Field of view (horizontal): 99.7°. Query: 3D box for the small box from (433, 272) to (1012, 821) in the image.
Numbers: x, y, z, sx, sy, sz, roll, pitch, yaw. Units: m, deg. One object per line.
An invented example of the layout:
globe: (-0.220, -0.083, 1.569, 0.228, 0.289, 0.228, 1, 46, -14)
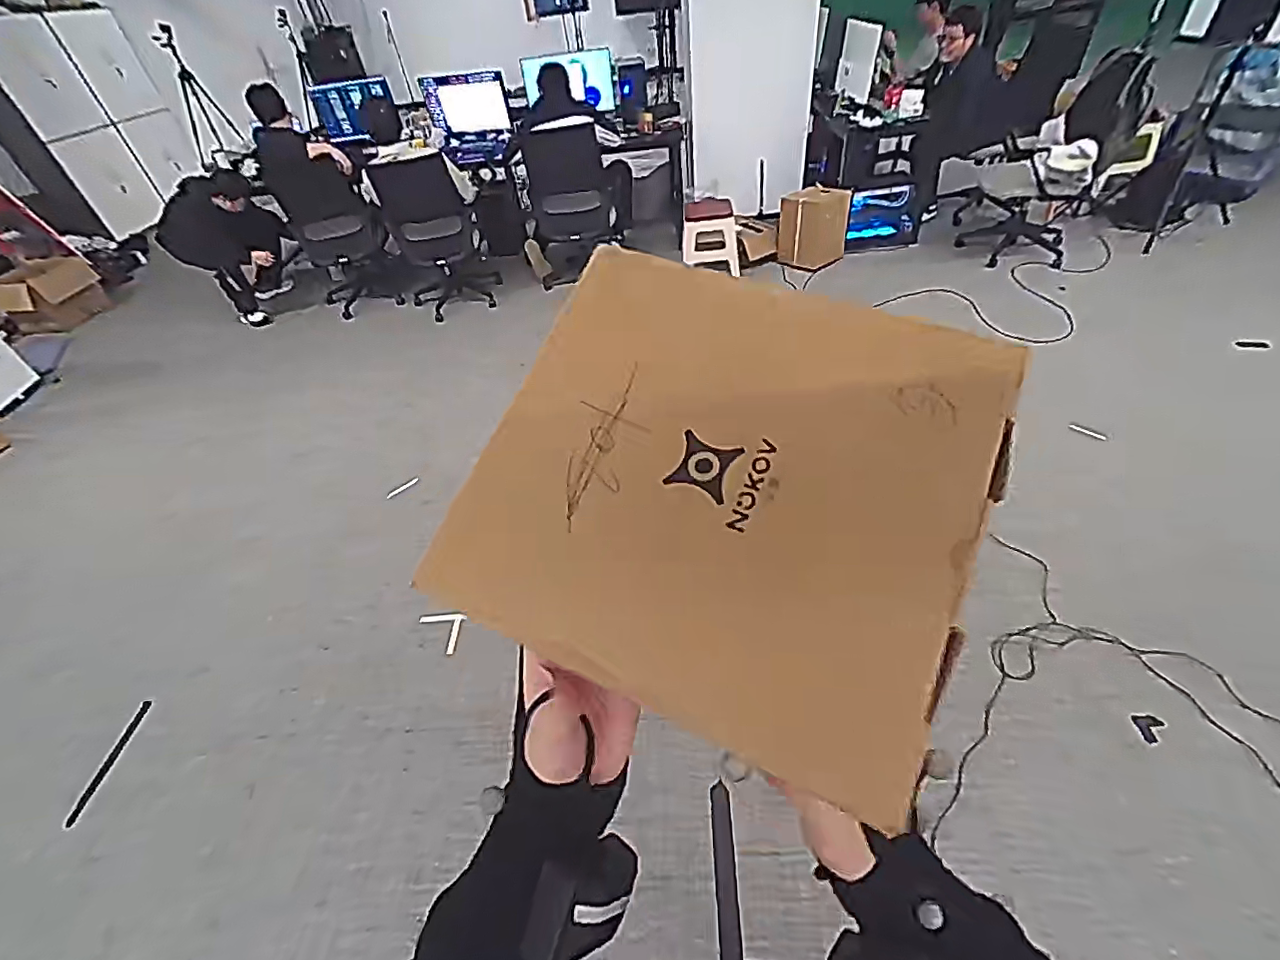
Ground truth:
small box: (0.042, 0.030, 0.277, 0.179, 0.176, 0.168, 19, 74, 17)
